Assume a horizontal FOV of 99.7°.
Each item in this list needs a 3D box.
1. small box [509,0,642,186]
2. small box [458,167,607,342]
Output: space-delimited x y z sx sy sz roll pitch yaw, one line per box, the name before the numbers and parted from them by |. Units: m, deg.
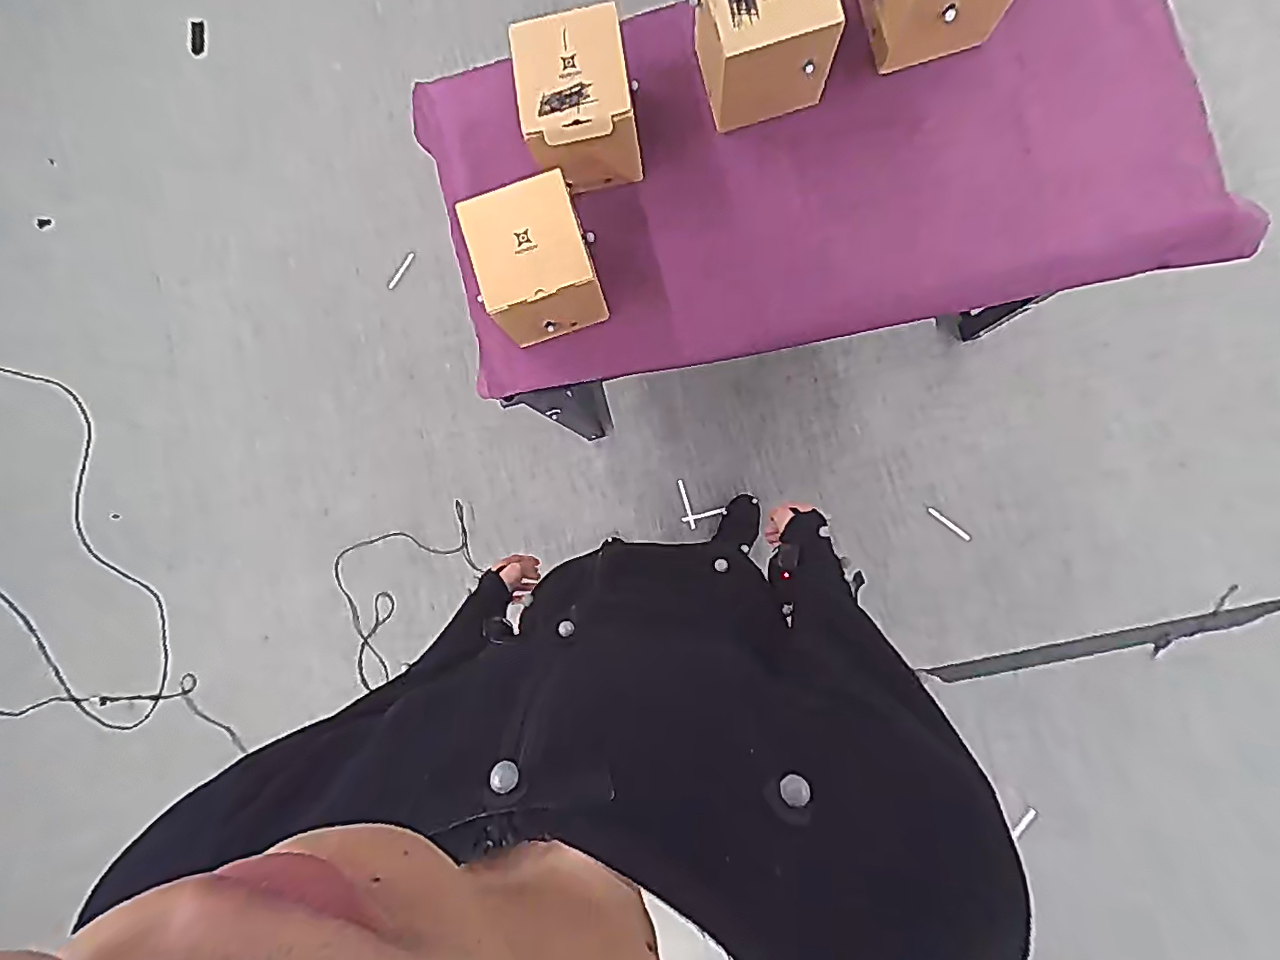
small box | -0.093 -0.597 0.862 0.168 0.176 0.179 -8 88 5
small box | -0.160 -0.344 0.858 0.168 0.176 0.179 -18 87 3
